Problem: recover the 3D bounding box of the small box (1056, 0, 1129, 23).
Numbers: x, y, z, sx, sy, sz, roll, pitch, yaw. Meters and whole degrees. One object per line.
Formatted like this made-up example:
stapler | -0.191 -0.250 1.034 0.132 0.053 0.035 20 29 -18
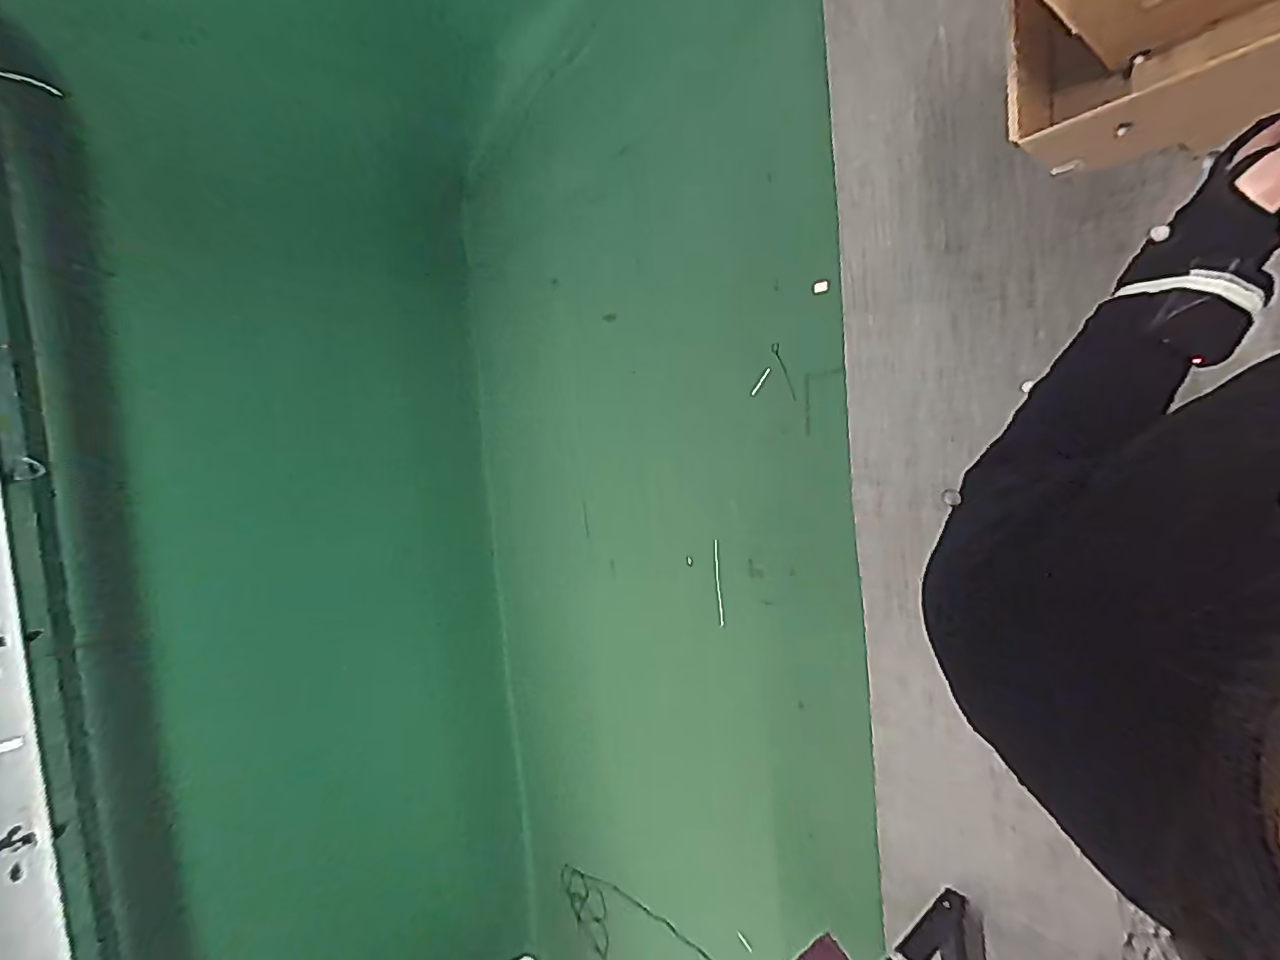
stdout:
small box | 0.528 -0.638 0.561 0.179 0.176 0.168 0 96 54
